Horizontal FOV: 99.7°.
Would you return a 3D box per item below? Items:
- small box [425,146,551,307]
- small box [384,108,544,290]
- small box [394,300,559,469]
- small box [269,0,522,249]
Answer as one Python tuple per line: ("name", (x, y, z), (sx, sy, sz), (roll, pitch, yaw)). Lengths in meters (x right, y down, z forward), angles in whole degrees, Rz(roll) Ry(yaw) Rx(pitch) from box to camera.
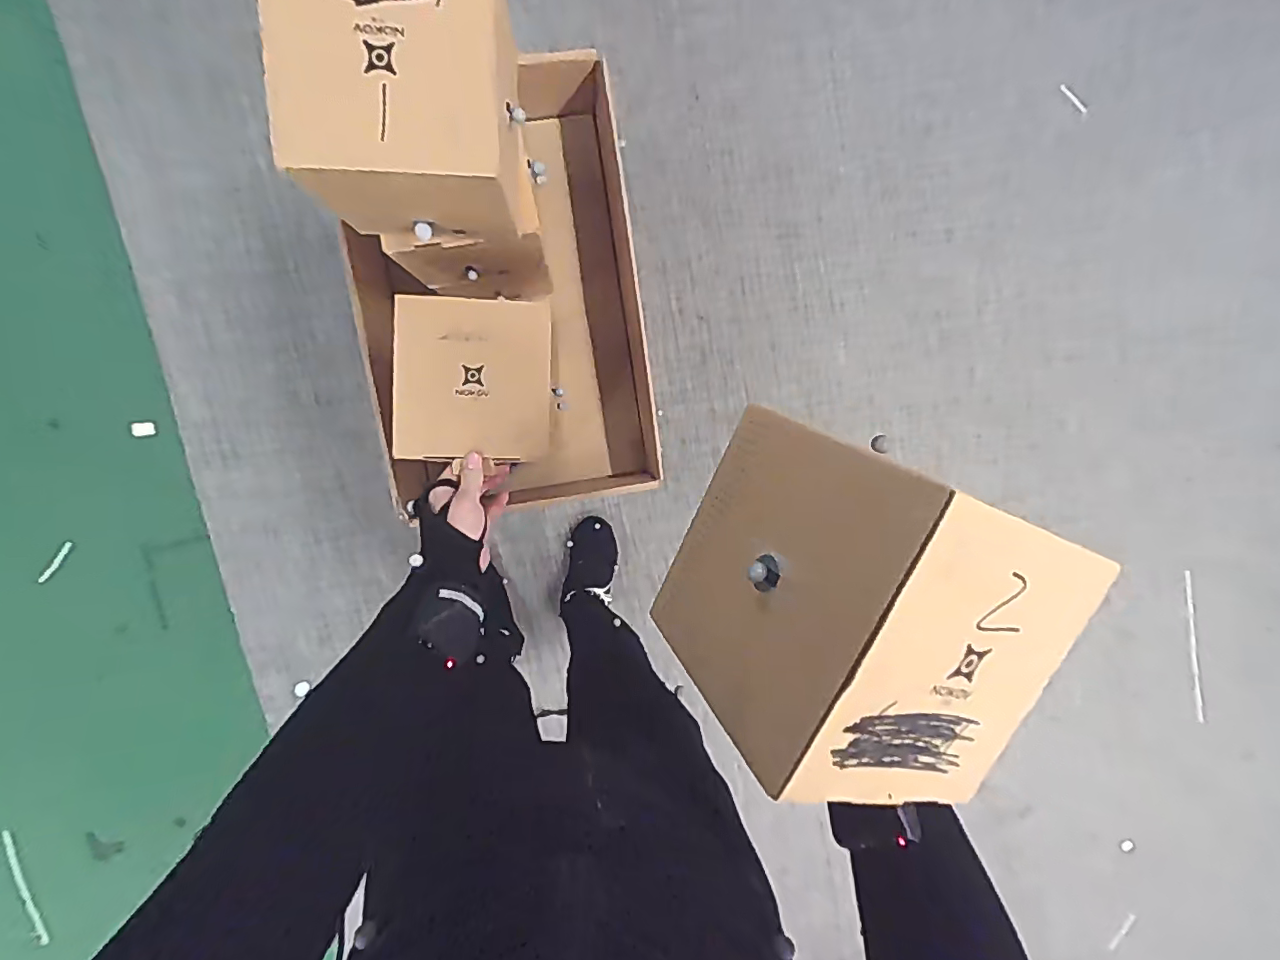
("small box", (-0.229, -0.365, 0.806), (0.168, 0.176, 0.179), (-9, 98, -5))
("small box", (-0.212, -0.343, 0.646), (0.168, 0.176, 0.179), (-10, 99, -6))
("small box", (-0.188, -0.103, 0.664), (0.168, 0.176, 0.179), (2, 90, -7))
("small box", (-0.198, -0.325, 0.484), (0.168, 0.176, 0.179), (0, 99, -7))
